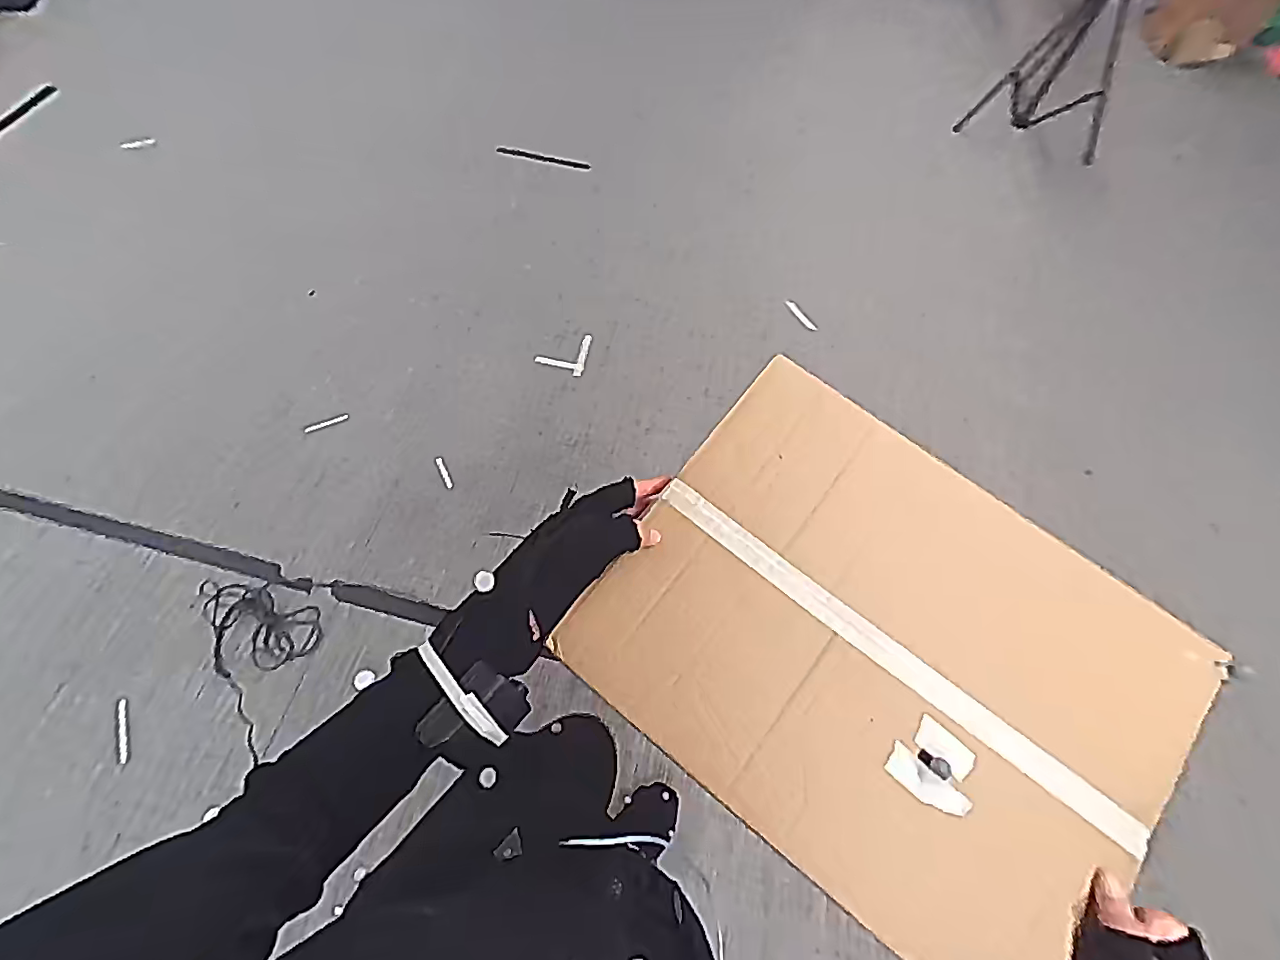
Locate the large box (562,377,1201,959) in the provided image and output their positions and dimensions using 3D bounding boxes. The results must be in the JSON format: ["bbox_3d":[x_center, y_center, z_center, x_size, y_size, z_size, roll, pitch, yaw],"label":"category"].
[{"bbox_3d":[0.184,0.175,0.558,0.408,0.320,0.320,37,78,10],"label":"large box"}]
